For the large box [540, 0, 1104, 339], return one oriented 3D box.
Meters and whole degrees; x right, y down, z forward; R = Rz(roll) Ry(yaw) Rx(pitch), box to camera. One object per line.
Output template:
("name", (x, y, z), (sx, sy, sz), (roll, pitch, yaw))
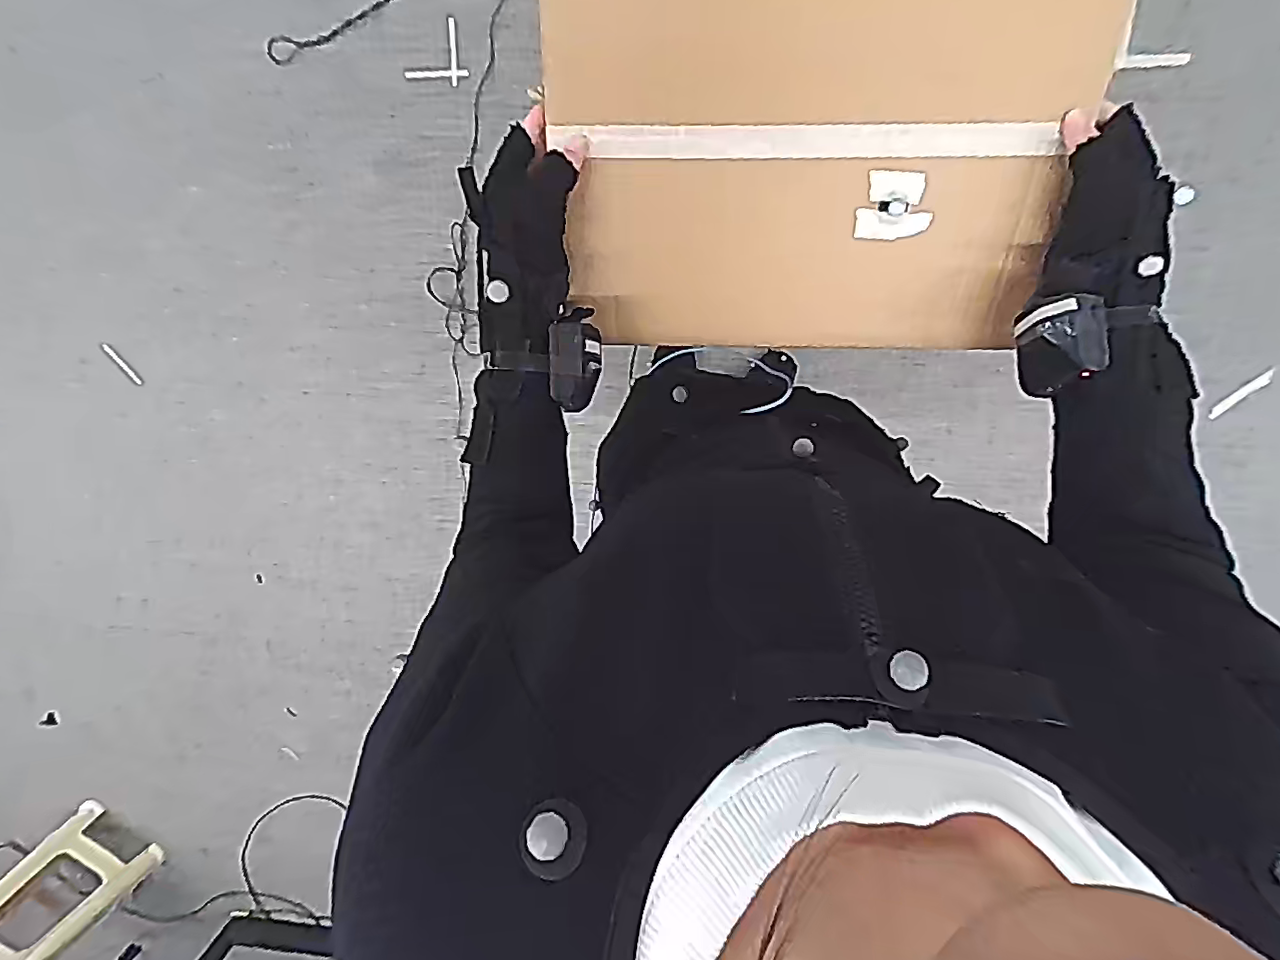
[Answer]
("large box", (0.130, -0.334, 0.553), (0.408, 0.320, 0.320), (0, 117, 1))
